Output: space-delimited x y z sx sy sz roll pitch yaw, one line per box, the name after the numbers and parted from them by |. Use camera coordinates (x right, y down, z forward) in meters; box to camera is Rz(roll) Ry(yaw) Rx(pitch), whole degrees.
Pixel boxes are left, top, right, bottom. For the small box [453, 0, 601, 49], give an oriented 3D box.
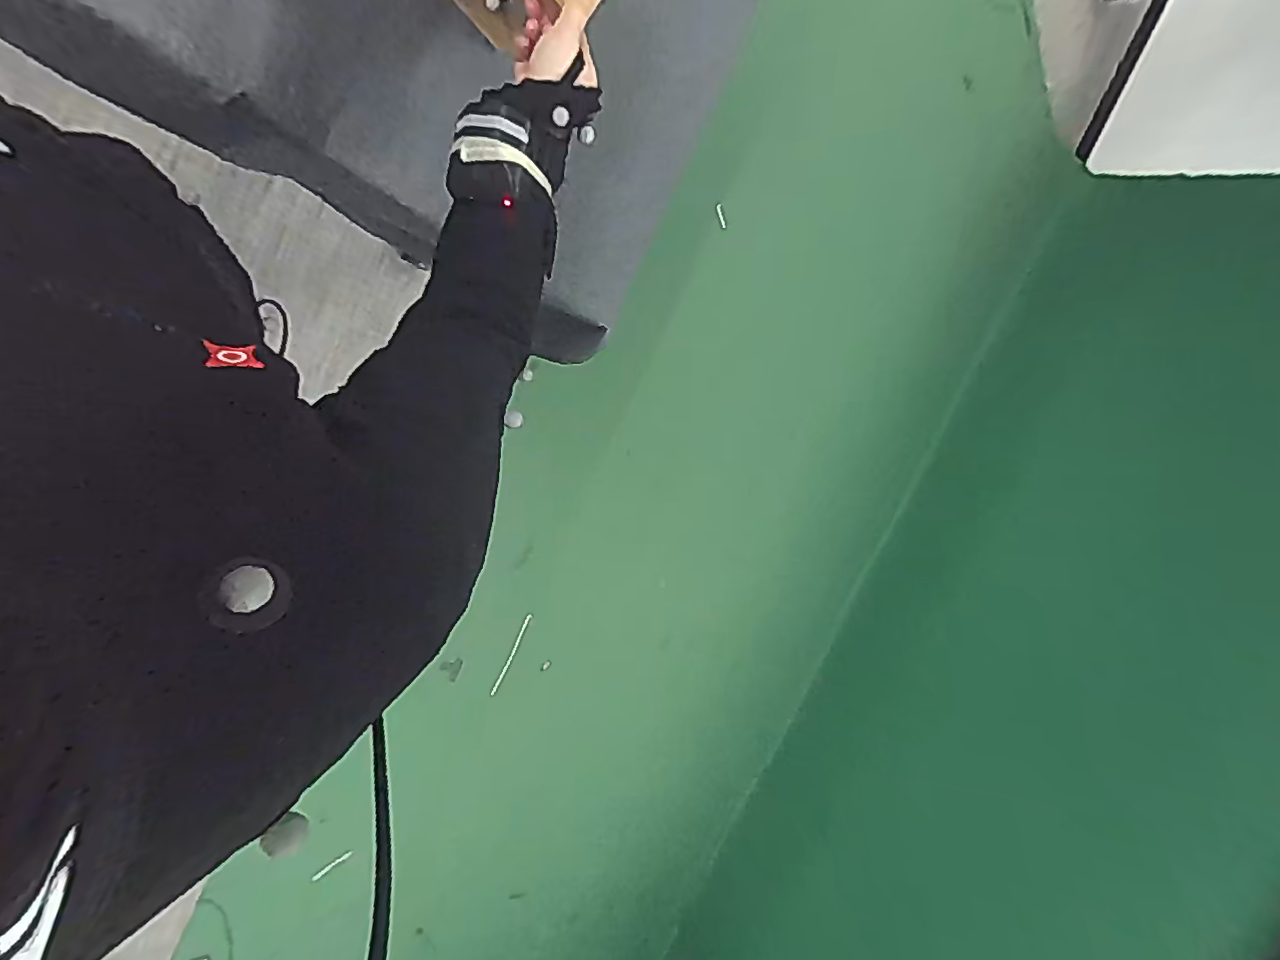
-0.101 -0.495 0.435 0.168 0.176 0.179 29 95 -48 | small box
